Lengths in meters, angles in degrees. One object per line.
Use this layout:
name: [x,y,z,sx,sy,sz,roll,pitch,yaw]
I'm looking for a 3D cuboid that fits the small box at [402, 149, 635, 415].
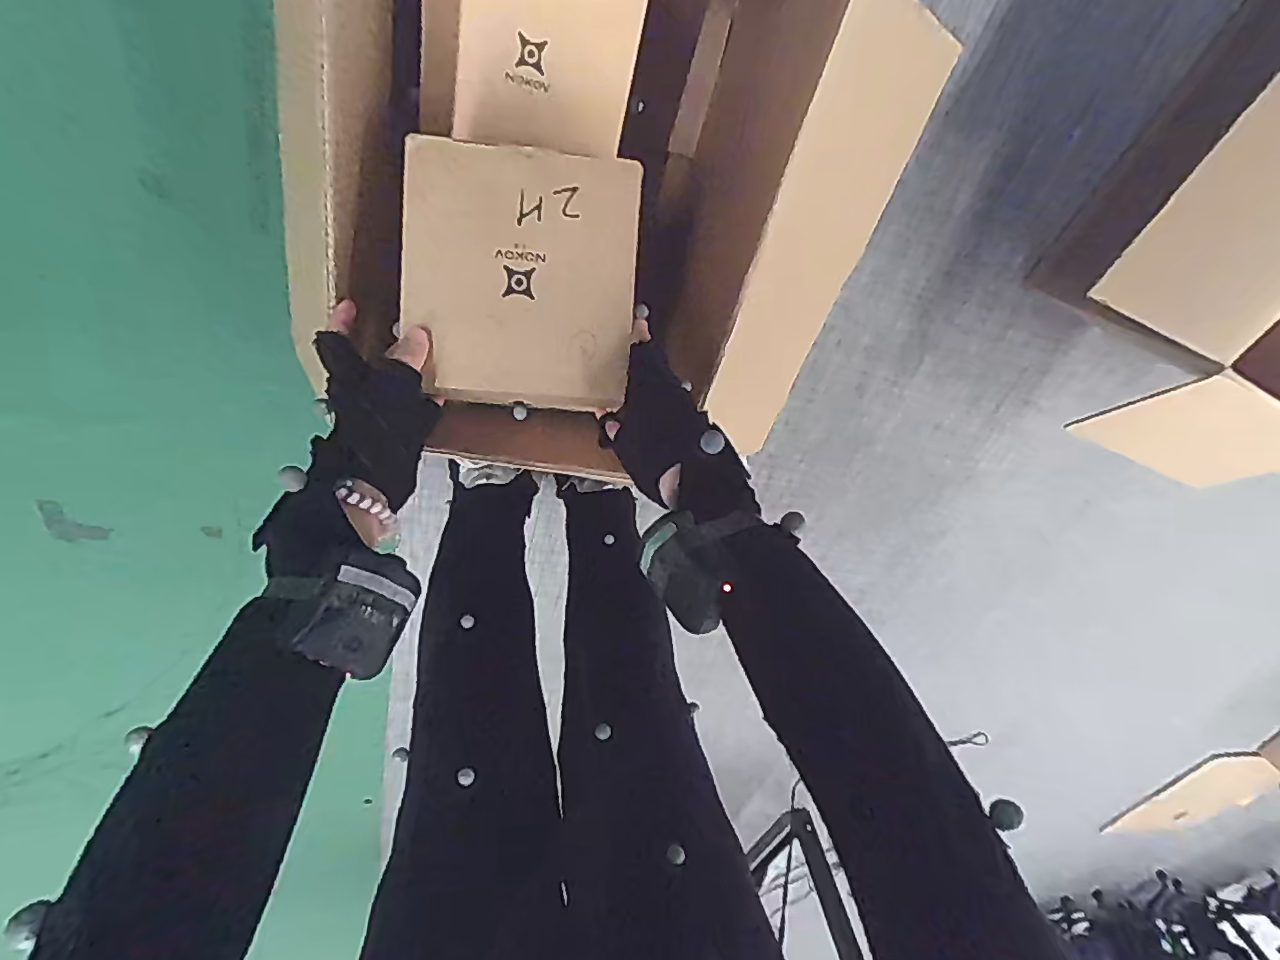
small box: [-0.096,-0.151,0.477,0.168,0.176,0.179,2,93,-7]
